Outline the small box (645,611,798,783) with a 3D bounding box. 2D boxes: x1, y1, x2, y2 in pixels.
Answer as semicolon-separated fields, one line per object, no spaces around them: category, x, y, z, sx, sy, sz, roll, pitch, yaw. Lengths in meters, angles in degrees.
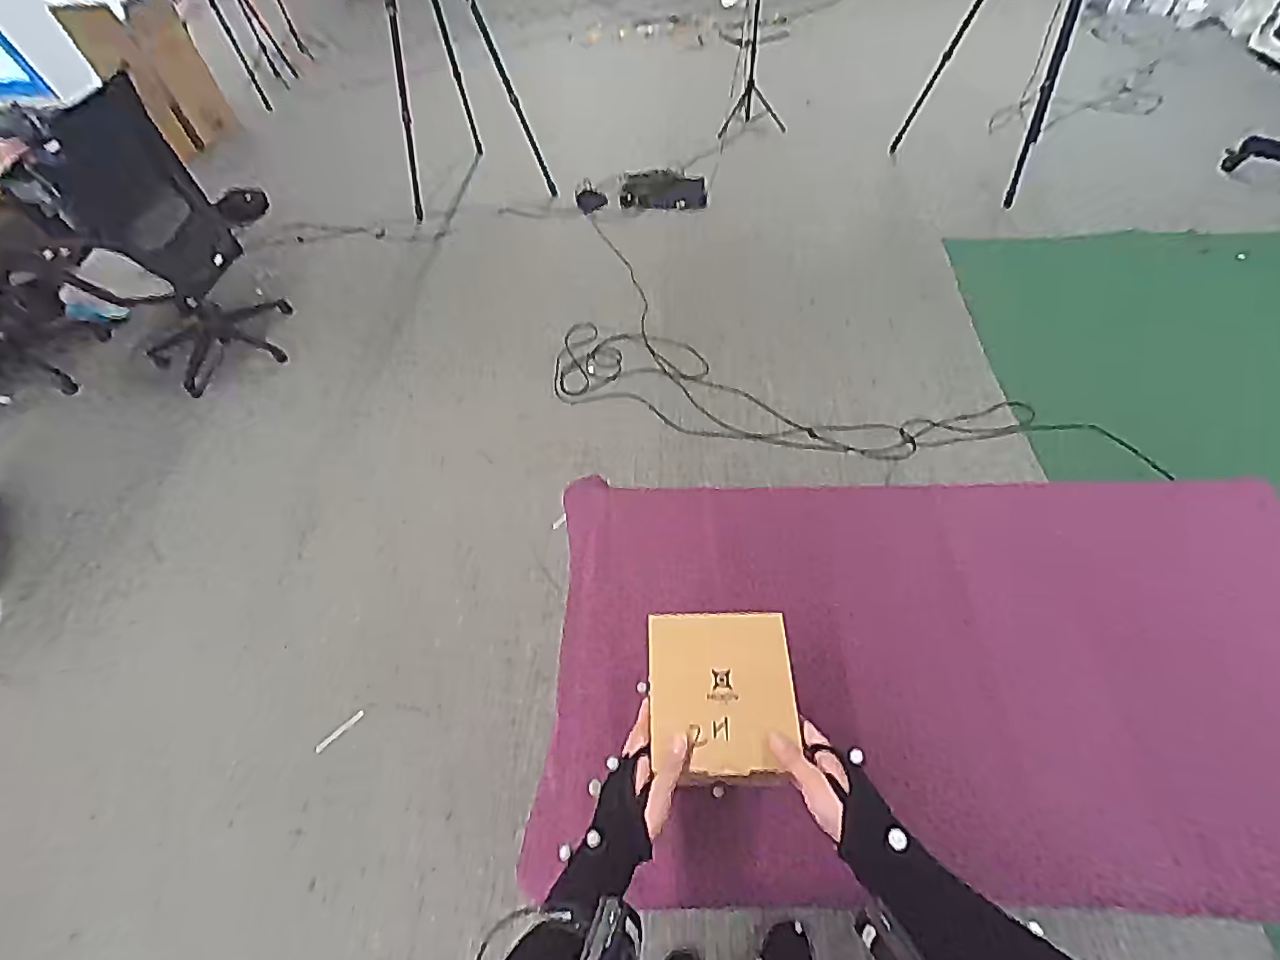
small box;0.090;0.279;0.689;0.168;0.176;0.179;-1;57;2
